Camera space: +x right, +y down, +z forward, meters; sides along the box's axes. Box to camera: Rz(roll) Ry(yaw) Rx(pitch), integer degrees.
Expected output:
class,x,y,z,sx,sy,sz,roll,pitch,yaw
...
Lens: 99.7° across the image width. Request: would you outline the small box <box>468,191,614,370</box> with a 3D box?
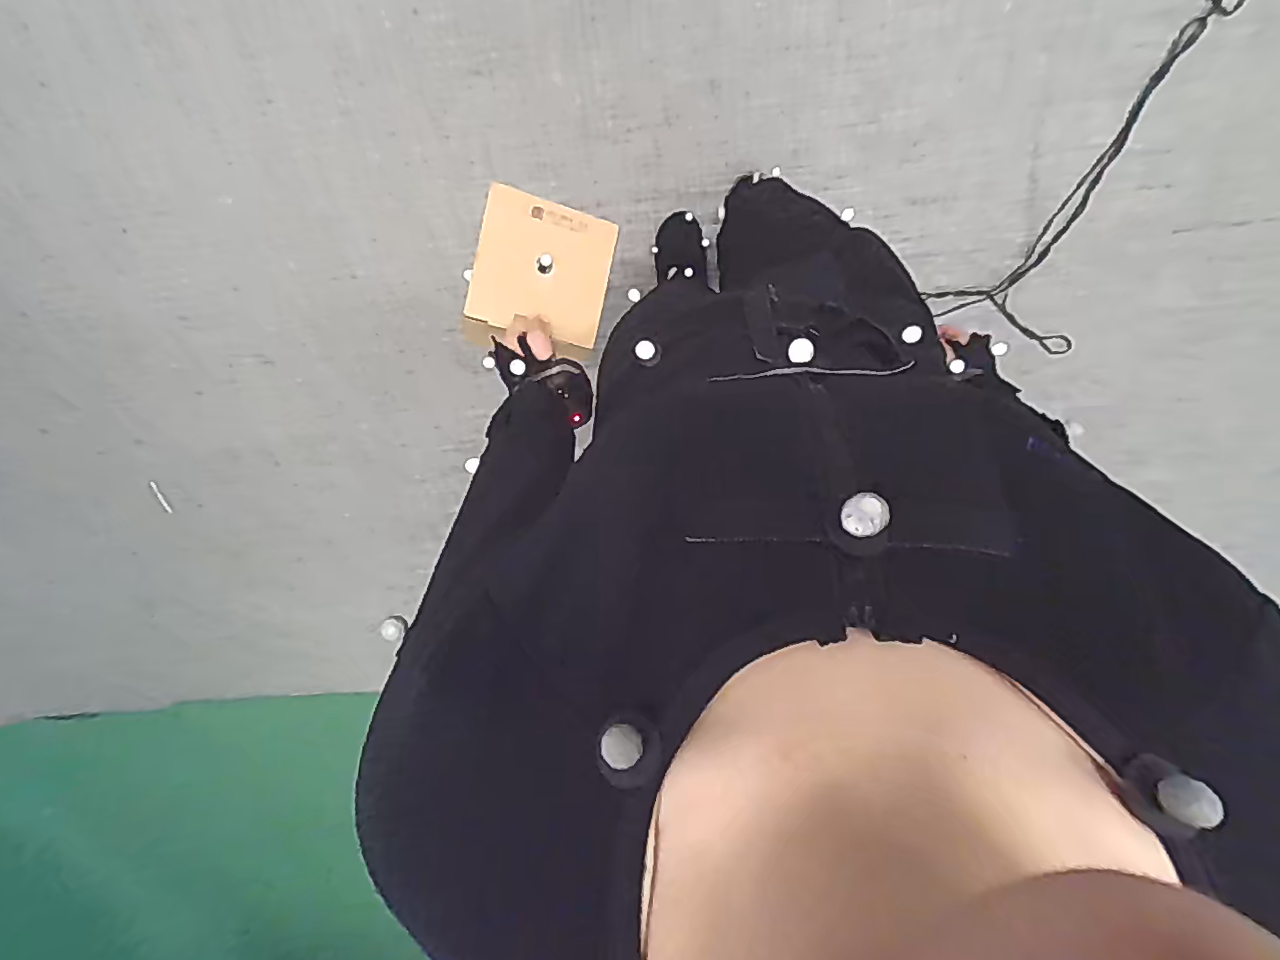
class,x,y,z,sx,sy,sz,roll,pitch,yaw
small box,-0.141,-0.267,0.755,0.168,0.179,0.176,12,89,-16
